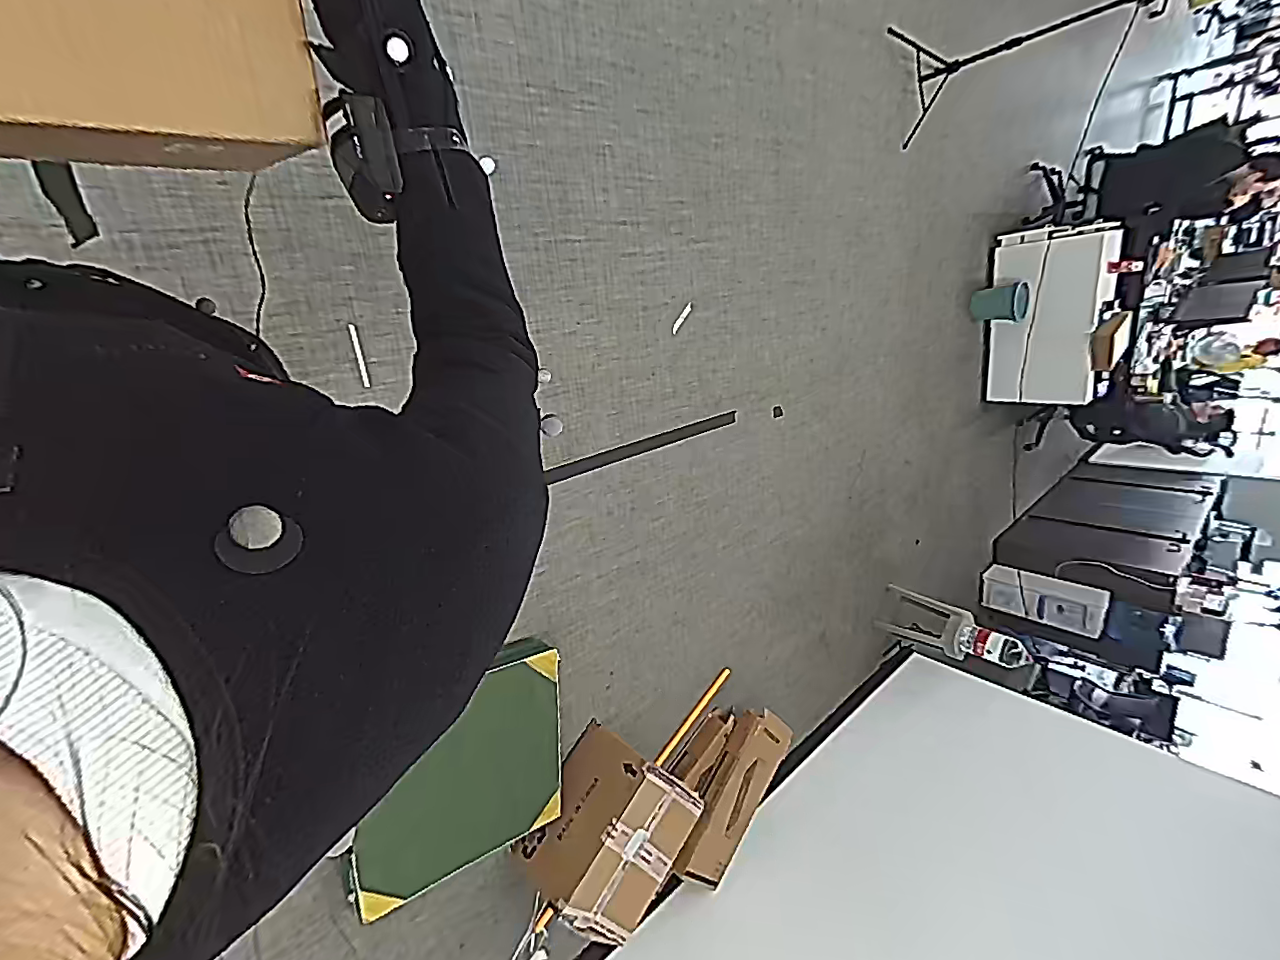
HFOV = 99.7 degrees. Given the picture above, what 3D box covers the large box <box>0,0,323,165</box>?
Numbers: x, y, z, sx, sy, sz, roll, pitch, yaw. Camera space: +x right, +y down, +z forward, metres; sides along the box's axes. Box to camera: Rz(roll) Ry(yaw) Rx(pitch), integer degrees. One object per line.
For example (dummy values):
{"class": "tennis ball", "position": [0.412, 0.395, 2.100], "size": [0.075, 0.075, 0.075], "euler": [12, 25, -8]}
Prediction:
{"class": "large box", "position": [-0.465, -0.362, 0.291], "size": [0.408, 0.320, 0.320], "euler": [-21, 124, -36]}
